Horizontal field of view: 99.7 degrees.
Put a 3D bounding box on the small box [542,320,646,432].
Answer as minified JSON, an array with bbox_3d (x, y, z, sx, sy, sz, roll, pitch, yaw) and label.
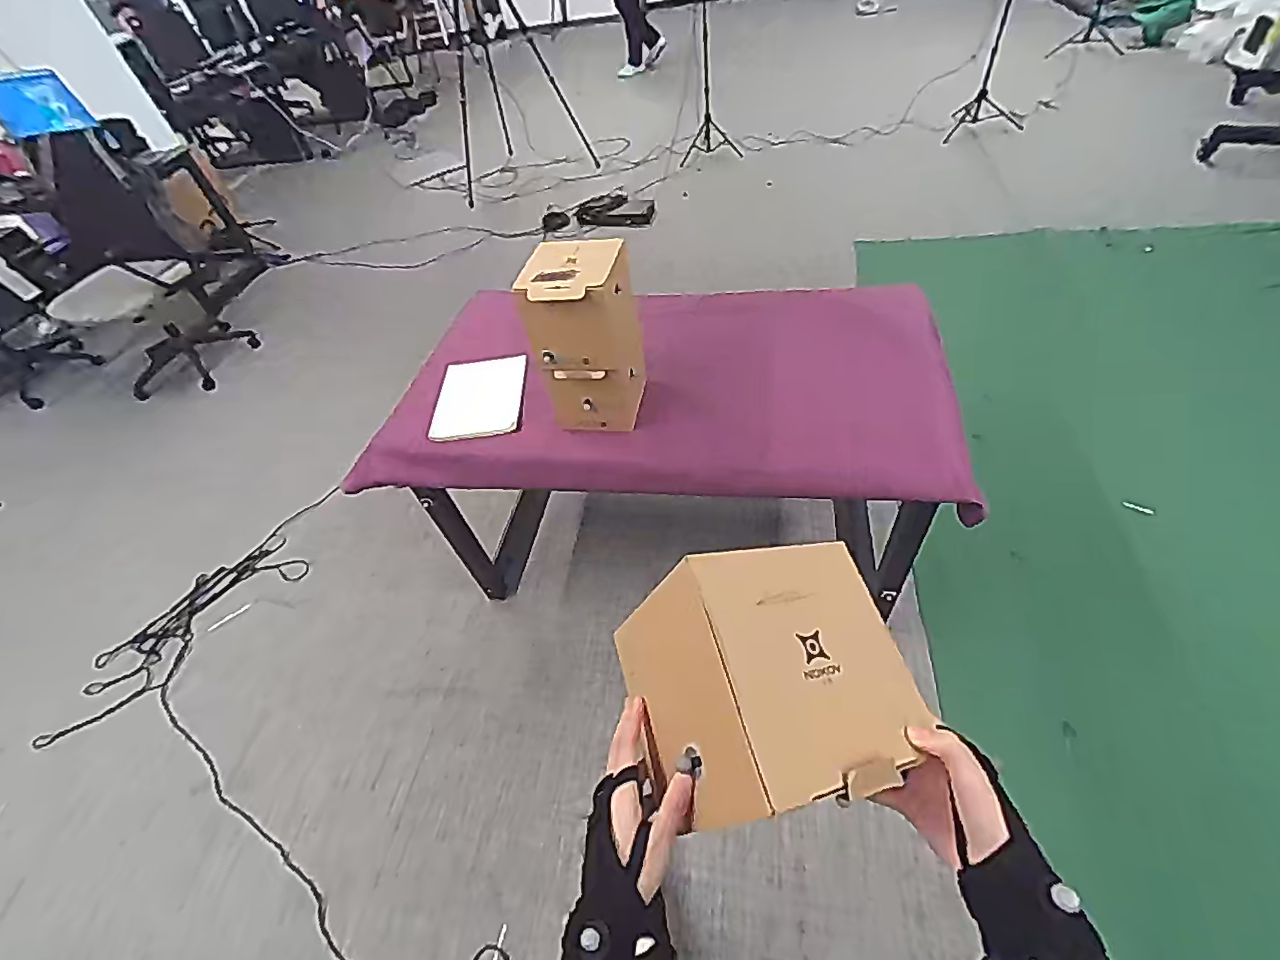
[{"bbox_3d":[-0.086,-0.218,1.143,0.168,0.176,0.179,4,51,12],"label":"small box"}]

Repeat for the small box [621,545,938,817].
[{"bbox_3d":[0.099,0.173,0.464,0.168,0.176,0.179,1,56,-26],"label":"small box"}]

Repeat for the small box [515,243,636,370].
[{"bbox_3d":[-0.109,-0.322,1.015,0.168,0.176,0.179,3,49,13],"label":"small box"}]
